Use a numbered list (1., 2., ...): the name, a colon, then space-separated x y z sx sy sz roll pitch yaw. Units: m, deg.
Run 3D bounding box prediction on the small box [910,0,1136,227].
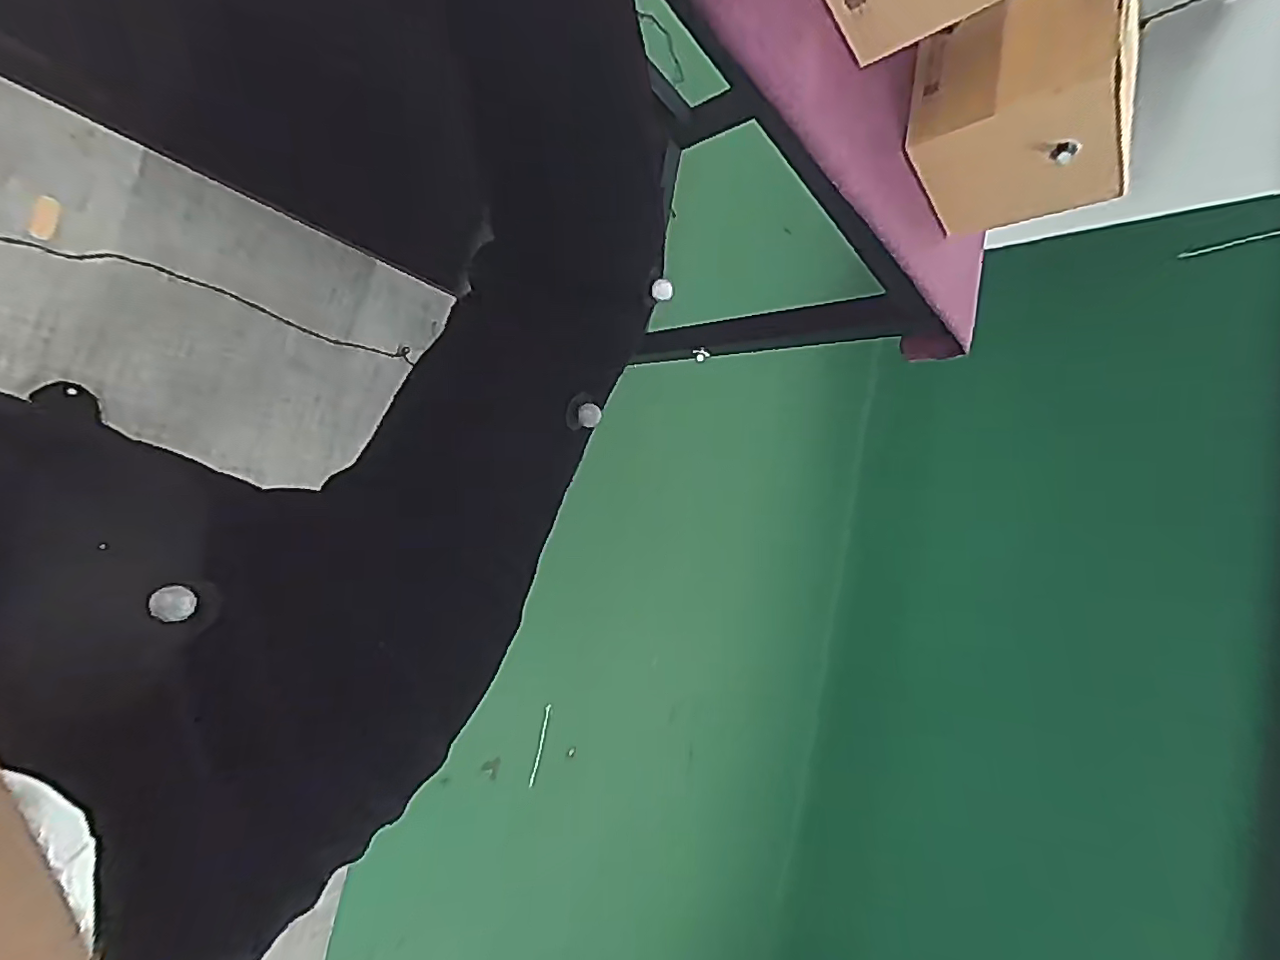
1. small box: 0.401 -0.398 0.568 0.179 0.176 0.168 18 80 -46
